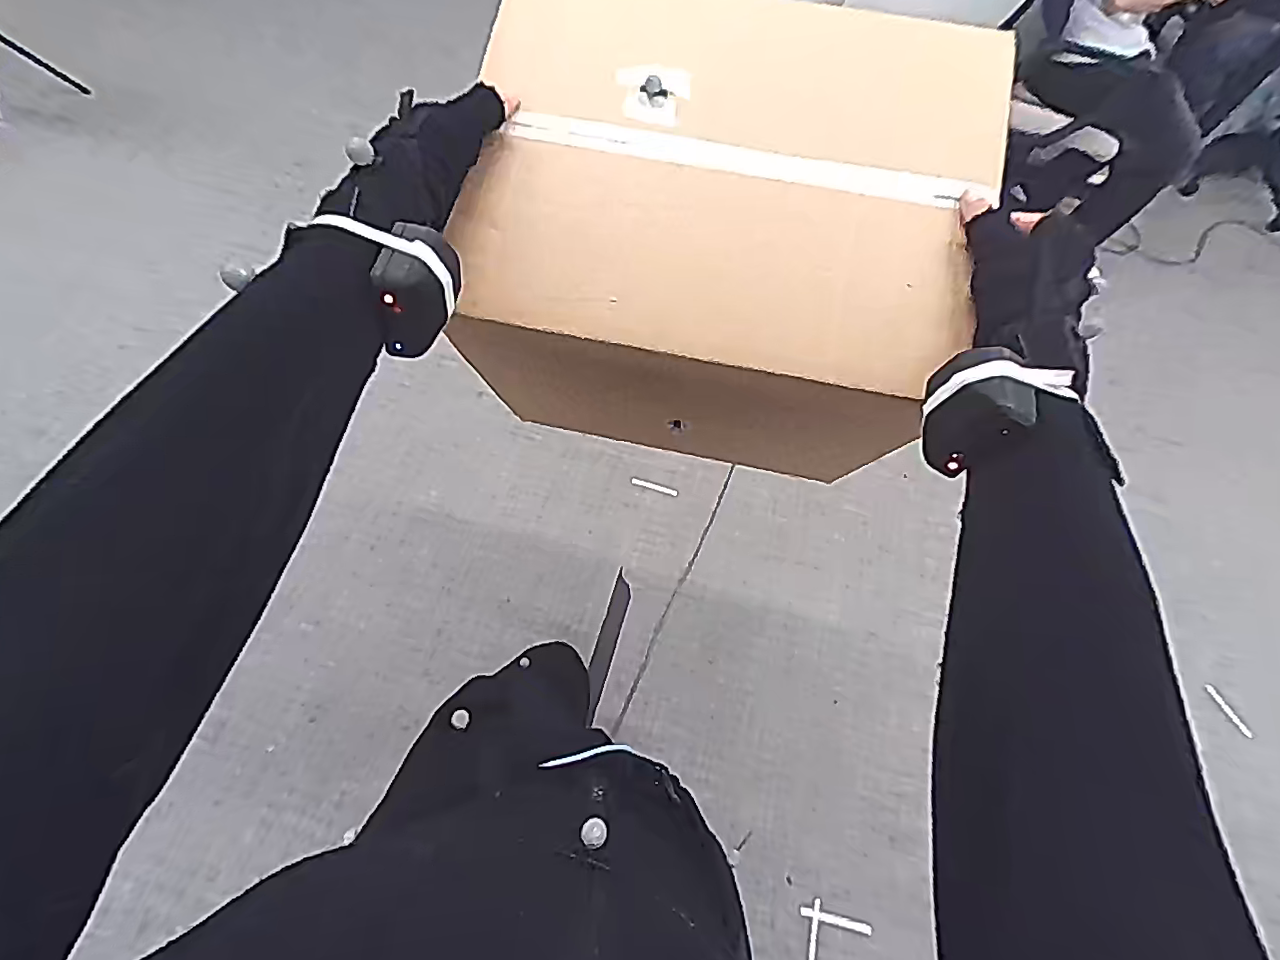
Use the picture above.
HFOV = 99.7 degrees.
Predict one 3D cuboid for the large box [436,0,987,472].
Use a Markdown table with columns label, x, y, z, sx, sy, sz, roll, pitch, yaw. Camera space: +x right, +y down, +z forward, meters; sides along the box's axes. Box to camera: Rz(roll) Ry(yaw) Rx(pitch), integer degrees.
| label | x | y | z | sx | sy | sz | roll | pitch | yaw |
| --- | --- | --- | --- | --- | --- | --- | --- | --- | --- |
| large box | 0.070 | -0.213 | 0.579 | 0.408 | 0.320 | 0.320 | 12 | 80 | 5 |
